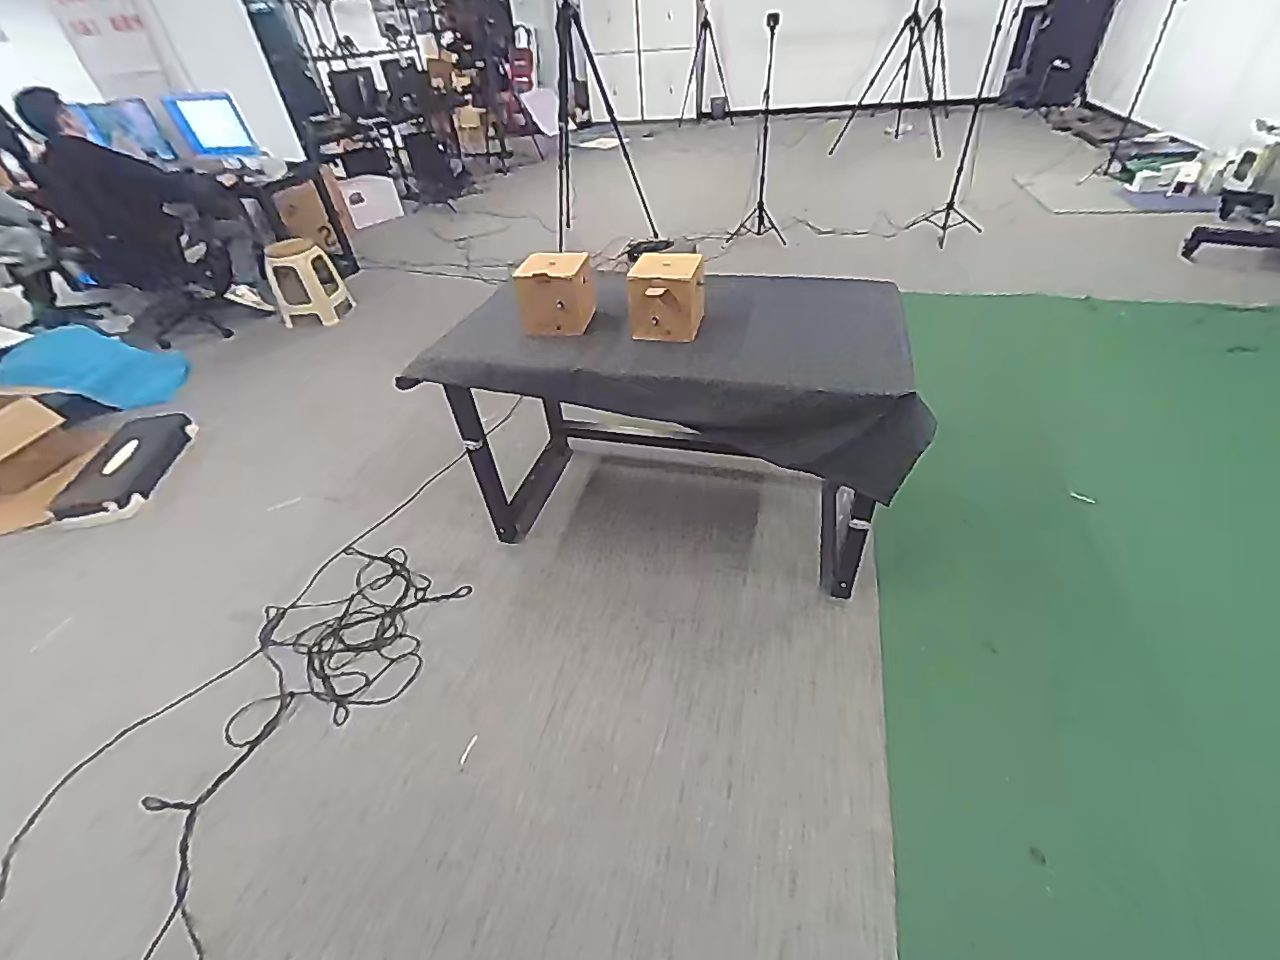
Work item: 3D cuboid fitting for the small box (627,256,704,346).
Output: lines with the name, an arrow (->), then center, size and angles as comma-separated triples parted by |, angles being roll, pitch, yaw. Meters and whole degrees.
small box -> 0.070, -0.470, 1.417 | 0.168, 0.176, 0.179 | 7, 42, 14

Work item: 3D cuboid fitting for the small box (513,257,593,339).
small box -> -0.229, -0.499, 1.483 | 0.168, 0.176, 0.179 | 4, 40, 8
